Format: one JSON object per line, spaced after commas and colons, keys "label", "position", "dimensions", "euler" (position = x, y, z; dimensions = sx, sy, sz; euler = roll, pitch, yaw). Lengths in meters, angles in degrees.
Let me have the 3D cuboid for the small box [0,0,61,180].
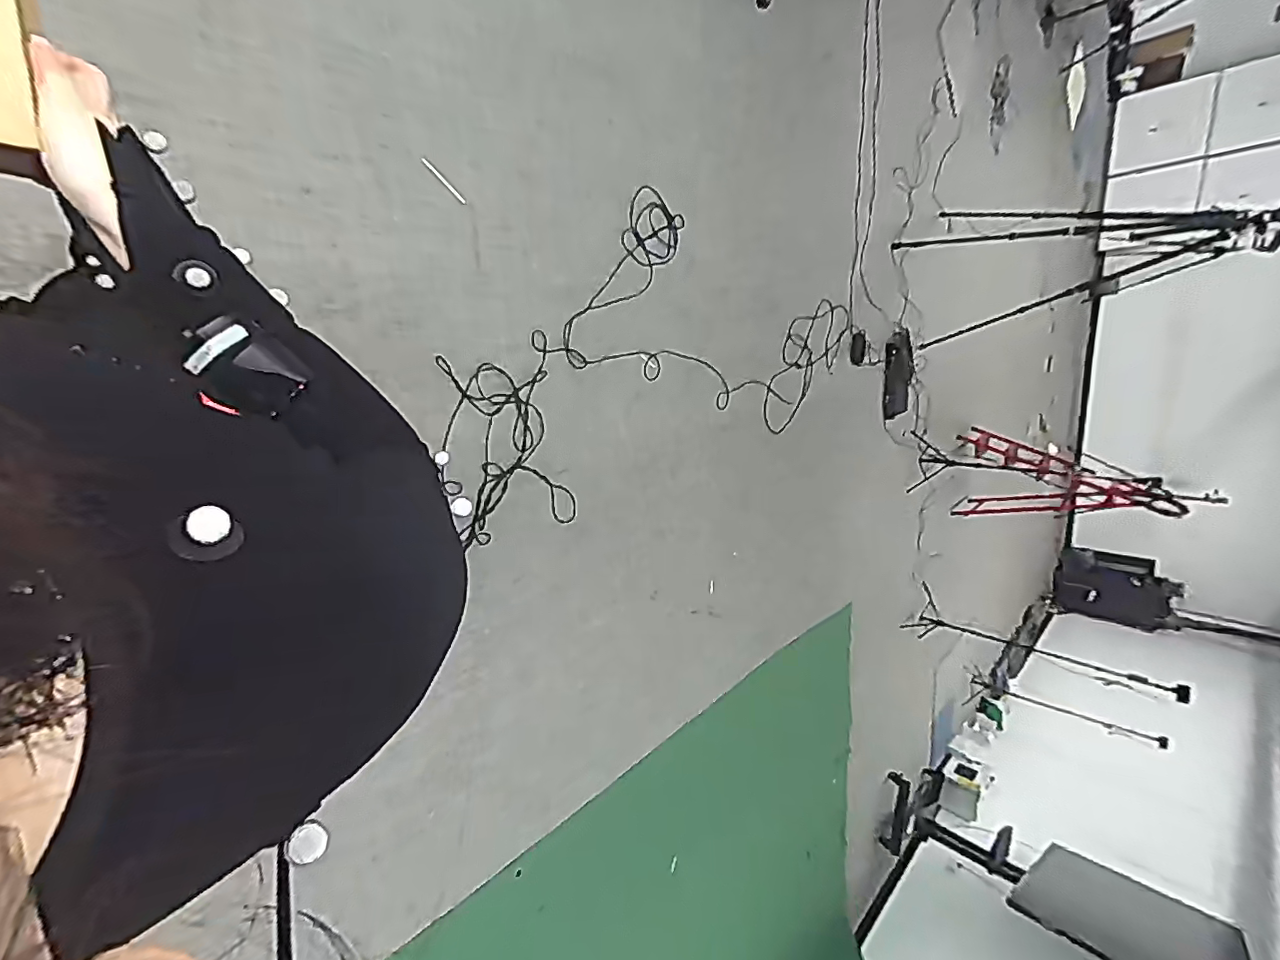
{"label": "small box", "position": [-0.439, -0.276, 0.281], "dimensions": [0.168, 0.176, 0.179], "euler": [-9, 111, -42]}
